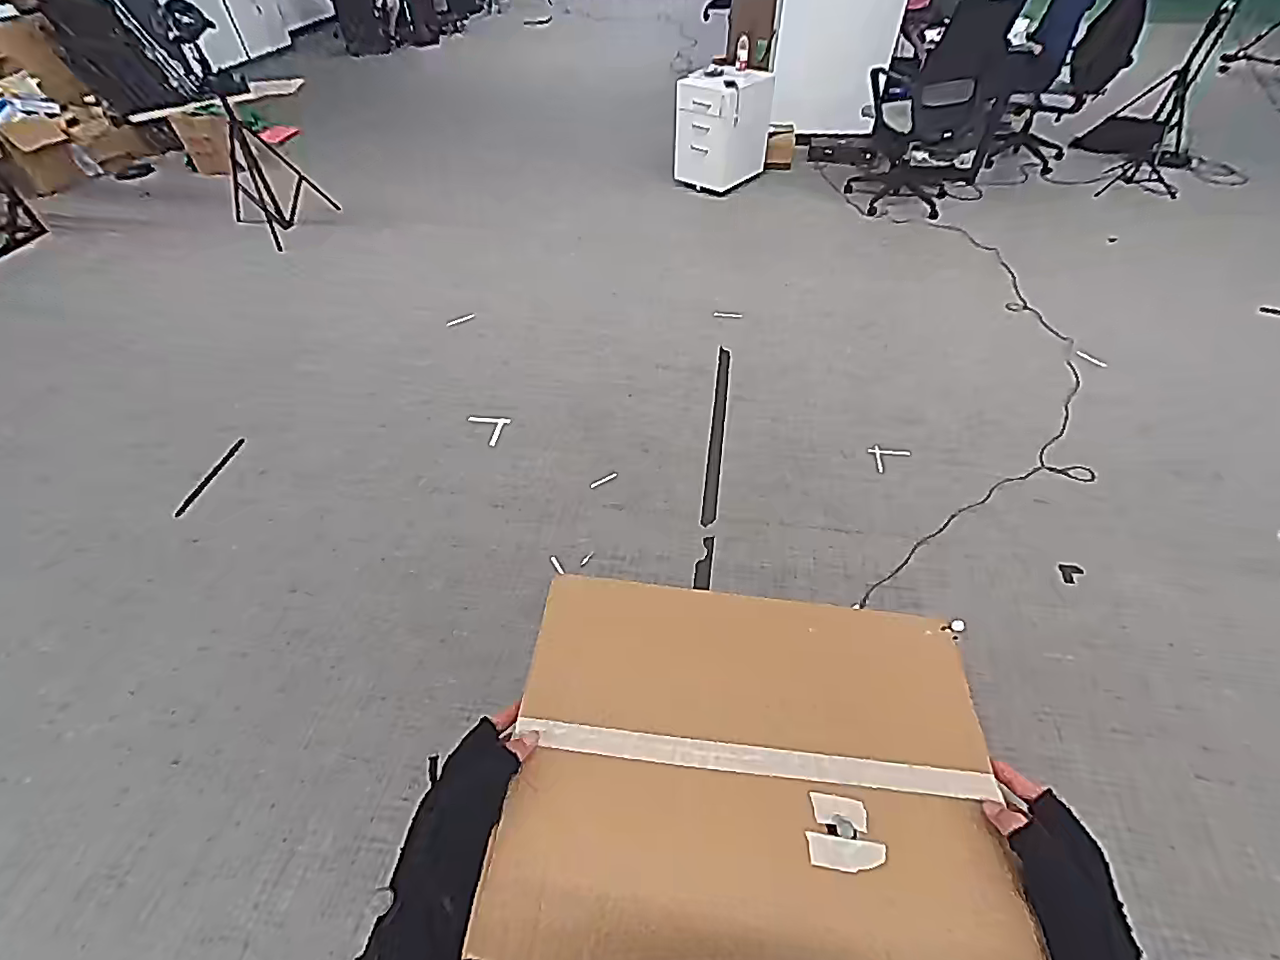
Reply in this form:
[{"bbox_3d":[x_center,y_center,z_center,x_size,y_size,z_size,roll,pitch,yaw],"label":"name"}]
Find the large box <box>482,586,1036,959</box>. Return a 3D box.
[{"bbox_3d":[0.089,0.342,0.578,0.408,0.320,0.320,6,49,2],"label":"large box"}]
